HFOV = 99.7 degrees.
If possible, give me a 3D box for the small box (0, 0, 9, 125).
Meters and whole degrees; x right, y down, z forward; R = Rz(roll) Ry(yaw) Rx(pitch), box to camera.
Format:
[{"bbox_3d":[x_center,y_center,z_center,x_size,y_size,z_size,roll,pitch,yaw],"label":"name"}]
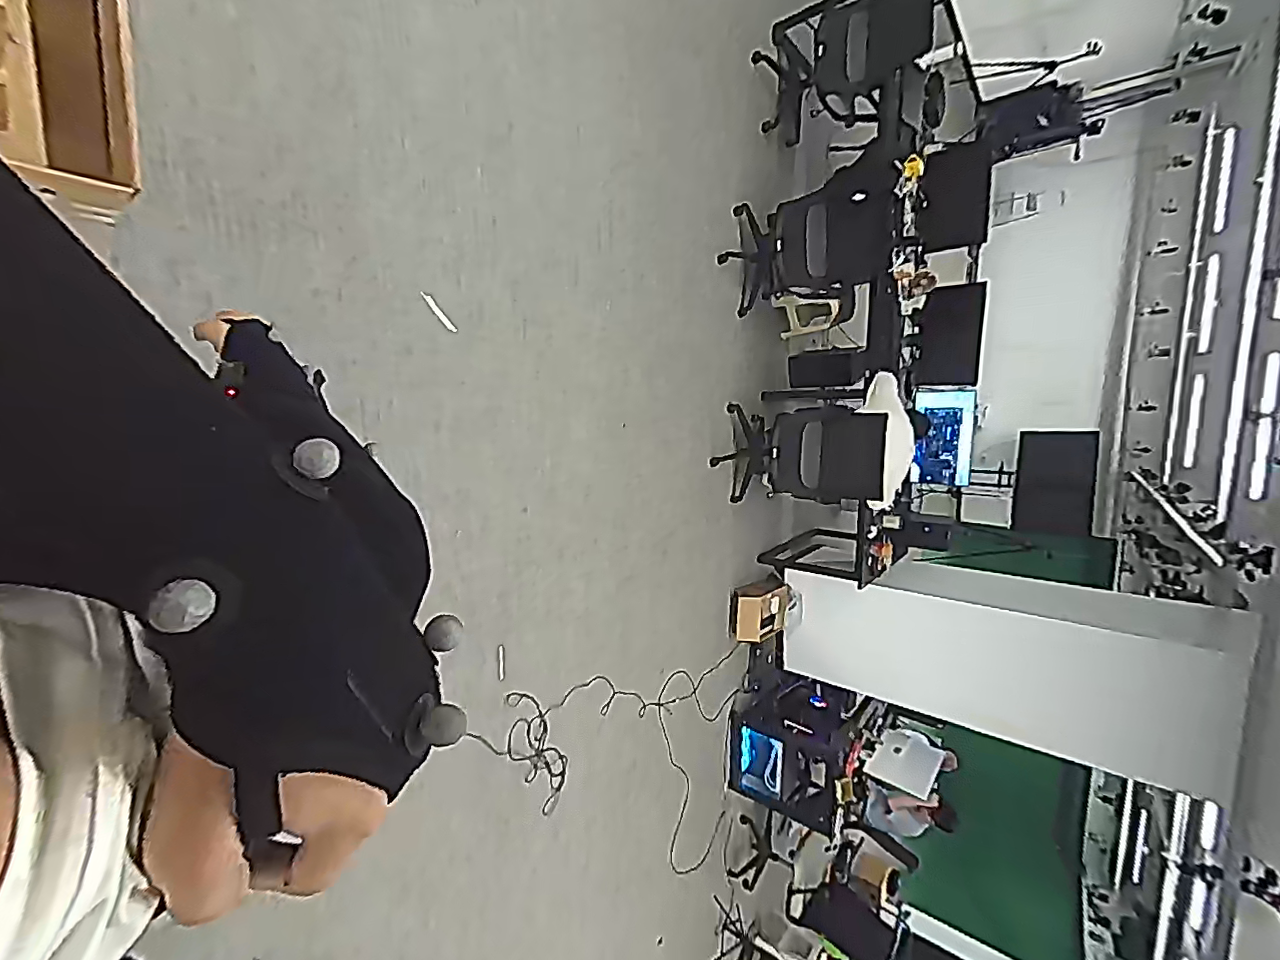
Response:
[{"bbox_3d":[-0.925,-0.593,0.677,0.168,0.176,0.179,-4,98,-49],"label":"small box"}]
